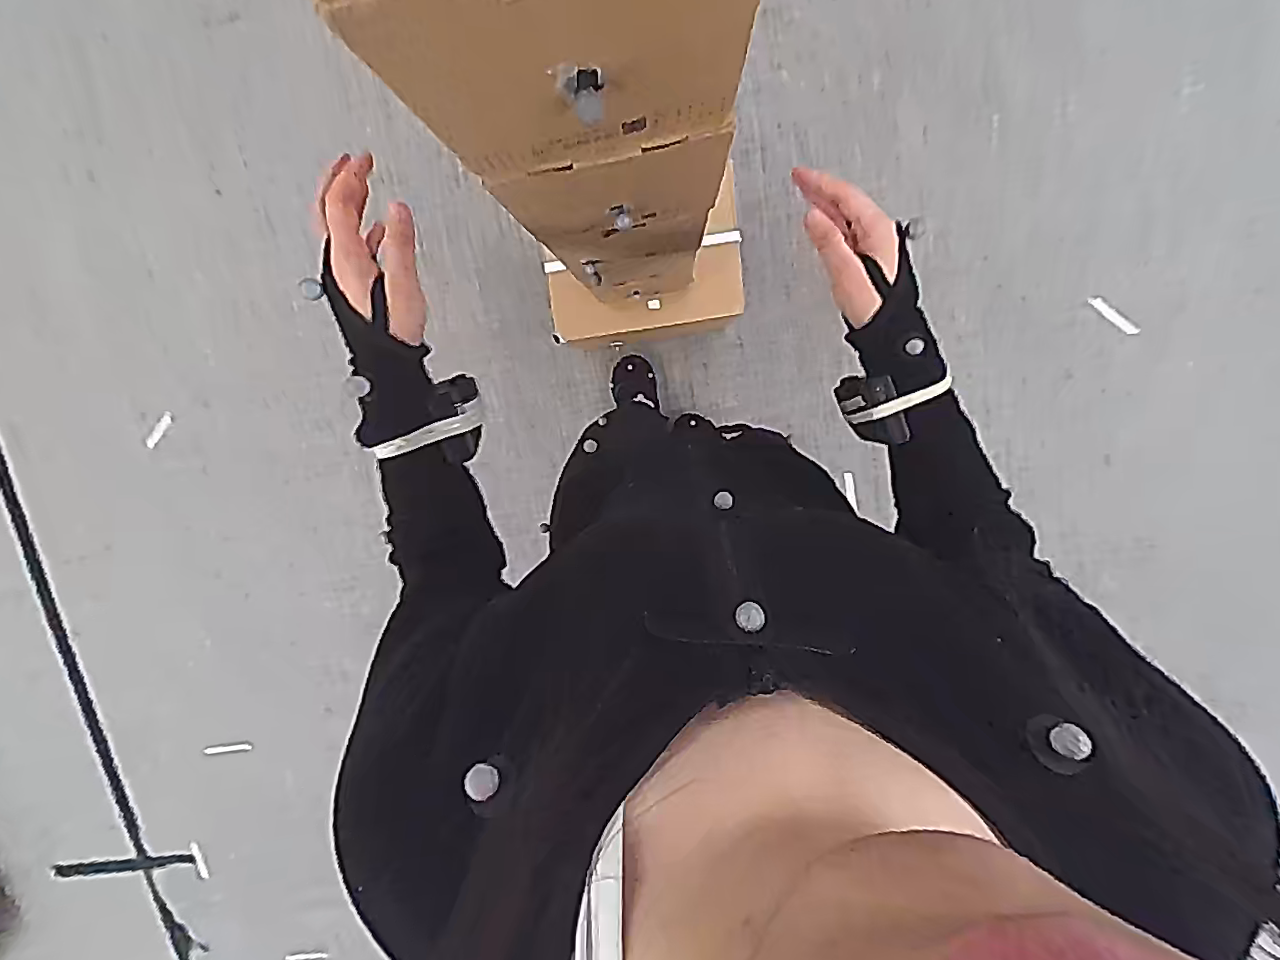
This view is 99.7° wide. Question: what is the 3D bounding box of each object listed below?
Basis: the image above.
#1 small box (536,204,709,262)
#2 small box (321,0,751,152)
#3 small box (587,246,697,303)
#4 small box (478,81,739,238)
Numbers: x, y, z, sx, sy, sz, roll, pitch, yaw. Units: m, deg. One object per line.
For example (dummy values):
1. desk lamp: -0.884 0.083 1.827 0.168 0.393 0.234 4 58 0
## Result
1. small box: -0.021 -0.336 0.561 0.168 0.176 0.179 -7 100 4
2. small box: -0.042 -0.274 0.239 0.168 0.176 0.179 -11 101 5
3. small box: -0.004 -0.401 0.882 0.168 0.176 0.179 -9 101 5
4. small box: -0.029 -0.303 0.400 0.168 0.176 0.179 -9 101 5
